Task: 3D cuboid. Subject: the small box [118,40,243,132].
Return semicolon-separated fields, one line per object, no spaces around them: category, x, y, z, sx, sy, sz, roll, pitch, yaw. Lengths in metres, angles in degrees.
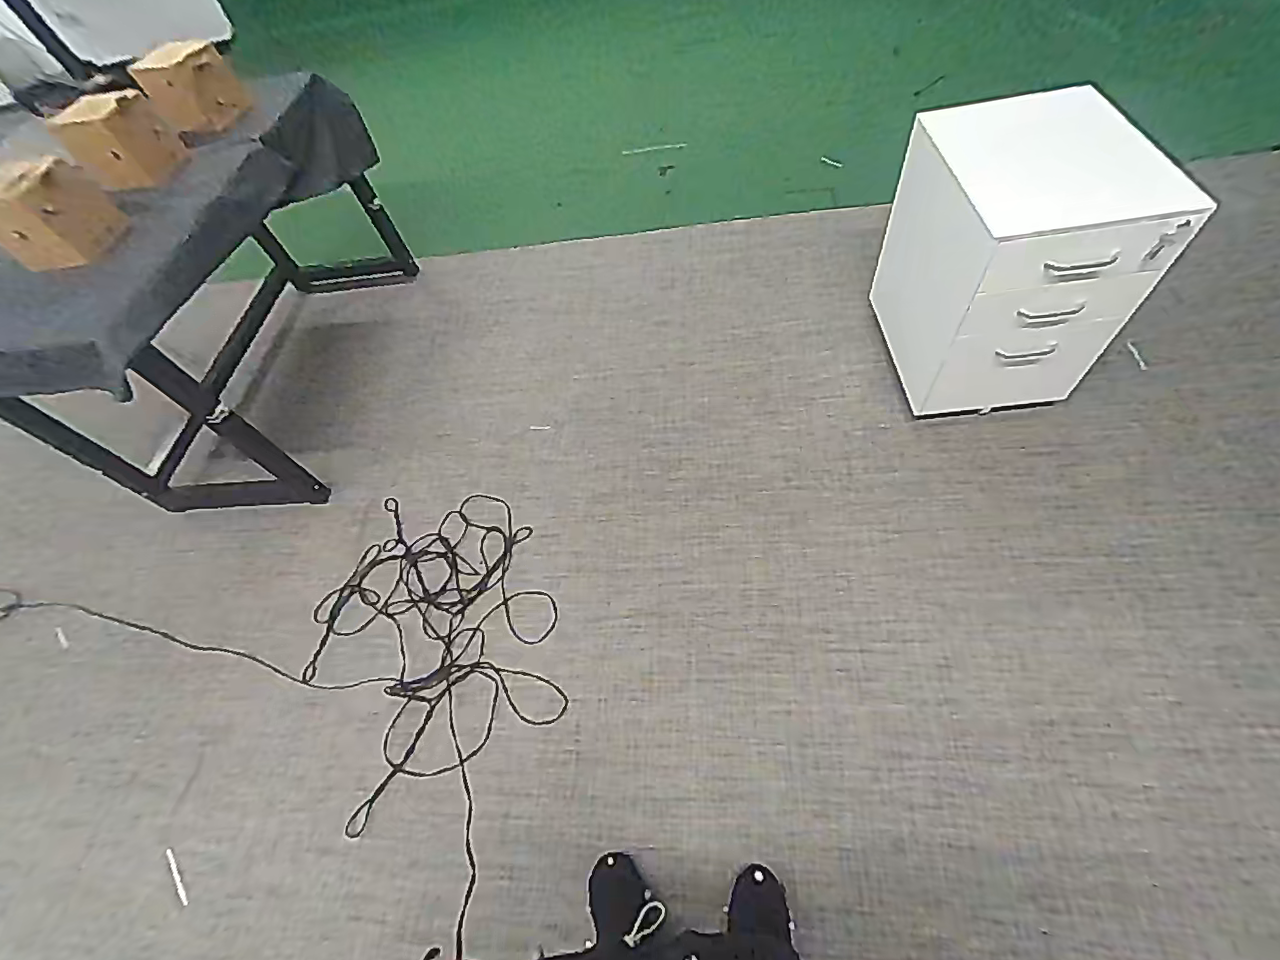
small box;-1.323;-1.139;1.568;0.179;0.176;0.168;11;61;16

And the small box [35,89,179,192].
small box;-1.384;-0.888;1.421;0.179;0.176;0.168;-1;57;11
